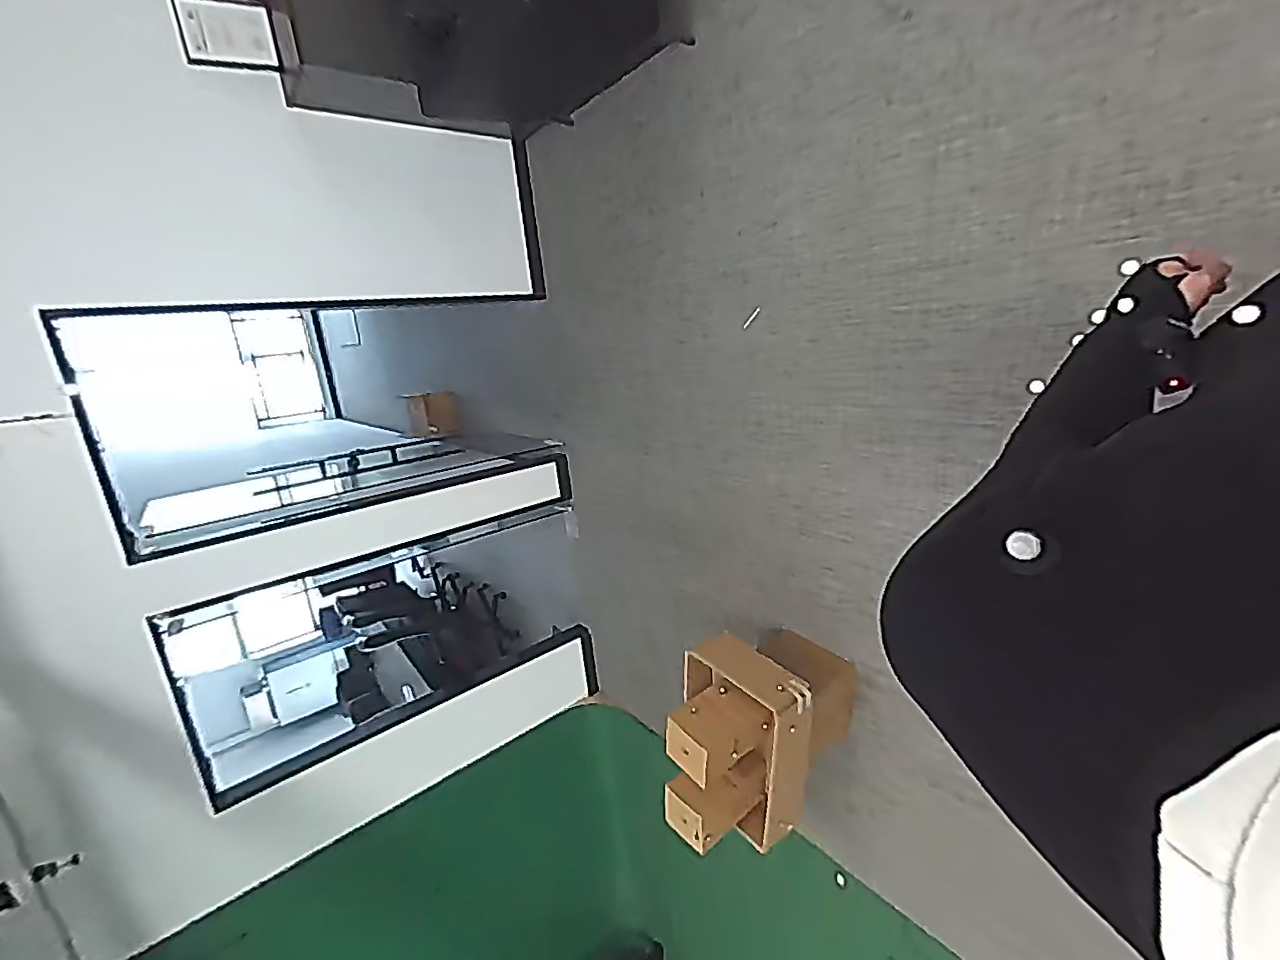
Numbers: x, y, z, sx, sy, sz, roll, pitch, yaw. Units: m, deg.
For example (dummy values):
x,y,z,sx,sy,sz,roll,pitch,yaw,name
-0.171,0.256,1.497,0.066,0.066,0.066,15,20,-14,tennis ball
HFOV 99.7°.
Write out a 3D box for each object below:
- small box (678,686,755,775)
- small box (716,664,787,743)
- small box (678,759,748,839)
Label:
x,y,z,sx,sy,sz,roll,pitch,yaw,name
0.247,0.802,1.758,0.179,0.176,0.168,27,125,45,small box
0.373,0.759,1.850,0.179,0.176,0.168,29,126,45,small box
0.250,1.074,1.864,0.179,0.176,0.168,20,120,49,small box
